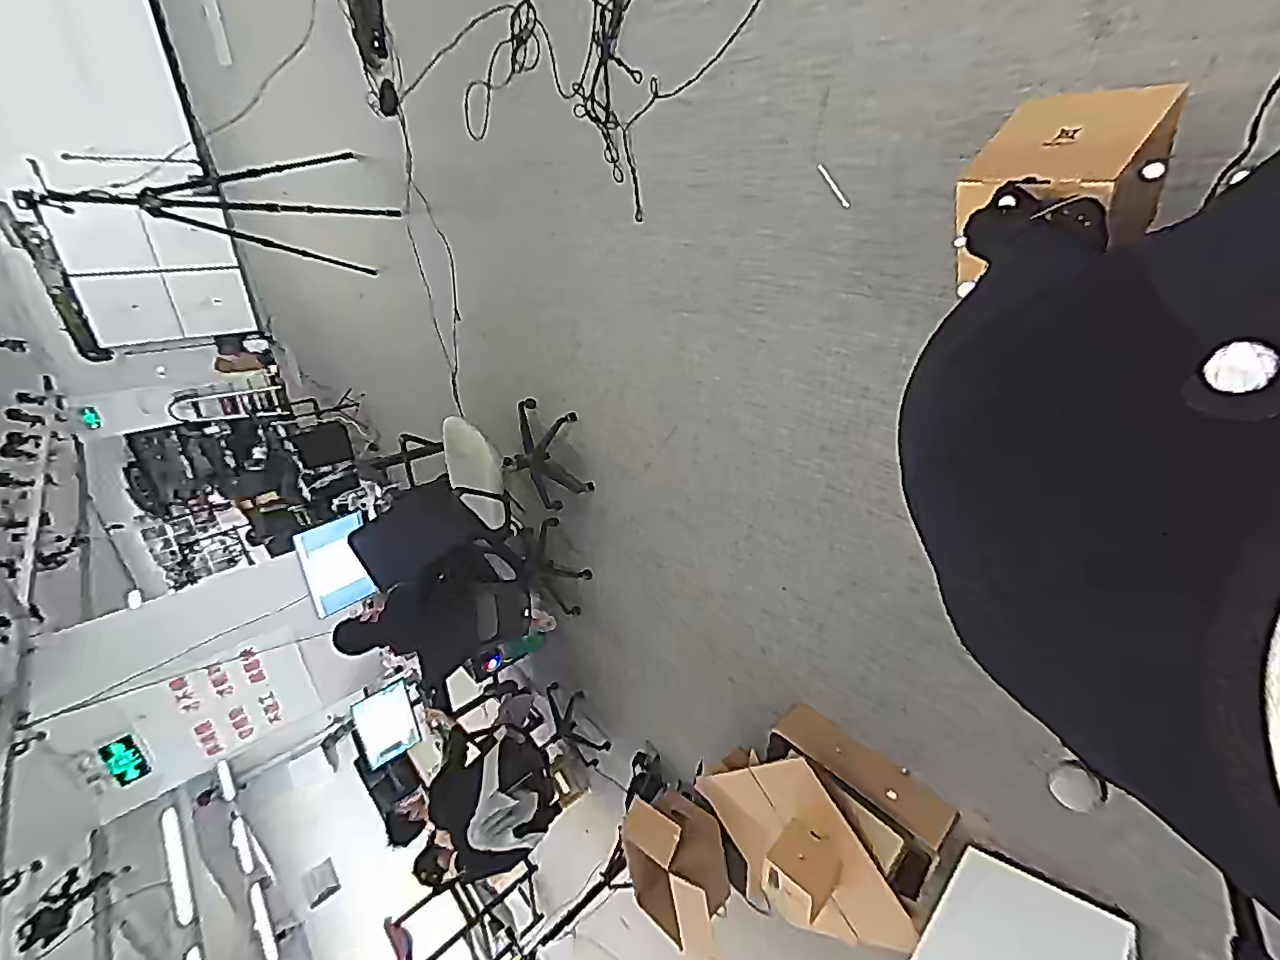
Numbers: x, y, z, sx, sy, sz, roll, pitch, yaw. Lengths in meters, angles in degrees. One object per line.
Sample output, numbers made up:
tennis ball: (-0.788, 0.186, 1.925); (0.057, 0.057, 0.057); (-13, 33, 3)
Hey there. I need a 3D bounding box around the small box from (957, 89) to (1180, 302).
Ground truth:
small box: (0.541, -0.364, 0.706); (0.168, 0.179, 0.176); (31, 165, 44)
